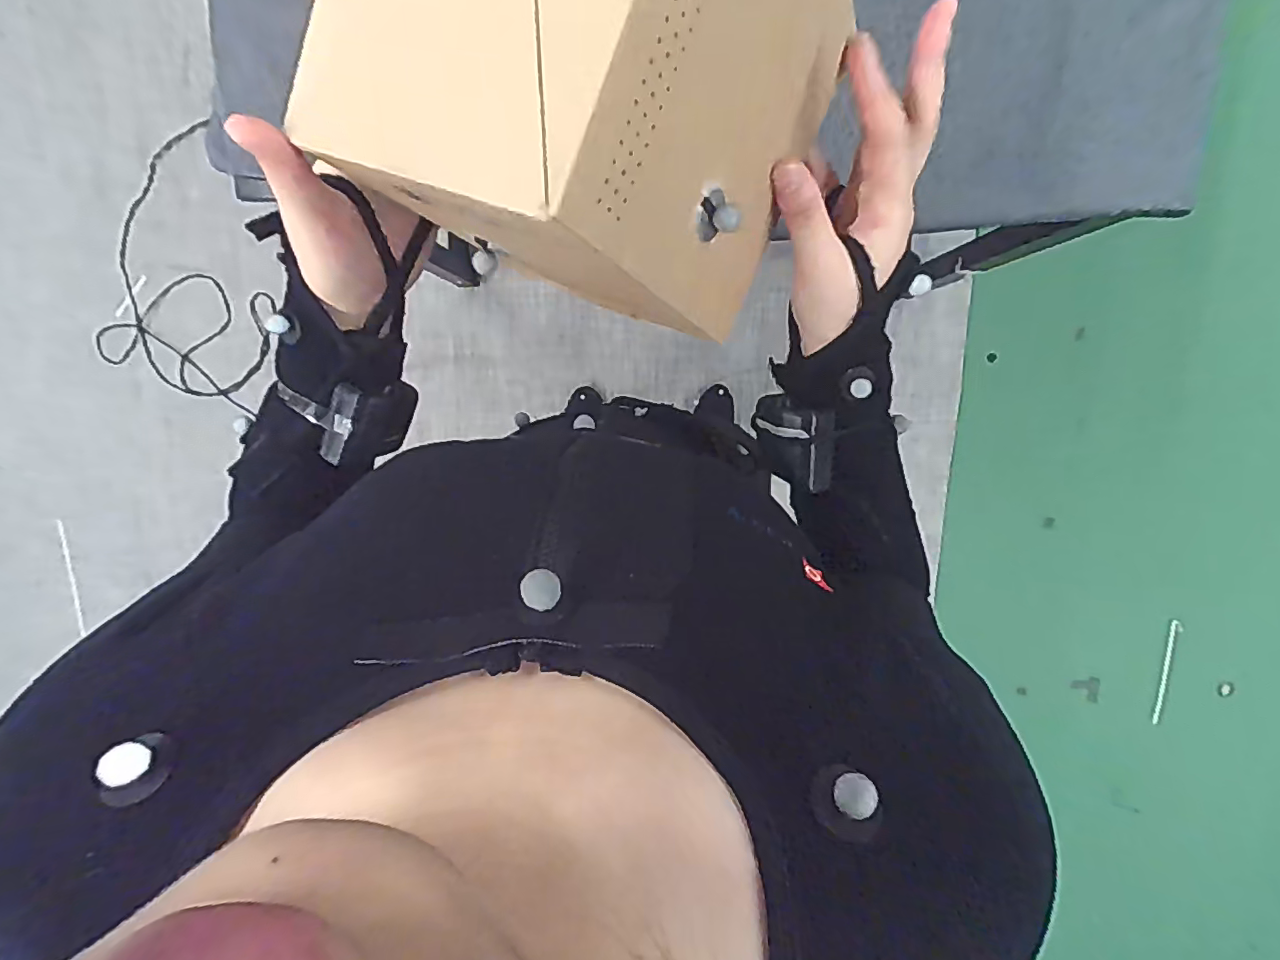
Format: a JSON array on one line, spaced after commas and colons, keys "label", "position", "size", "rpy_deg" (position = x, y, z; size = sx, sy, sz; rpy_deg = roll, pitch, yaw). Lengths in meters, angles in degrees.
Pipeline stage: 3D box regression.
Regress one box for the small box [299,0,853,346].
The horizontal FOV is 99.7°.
[{"label": "small box", "position": [-0.024, -0.189, 0.256], "size": [0.168, 0.176, 0.179], "rpy_deg": [29, 102, 24]}]
